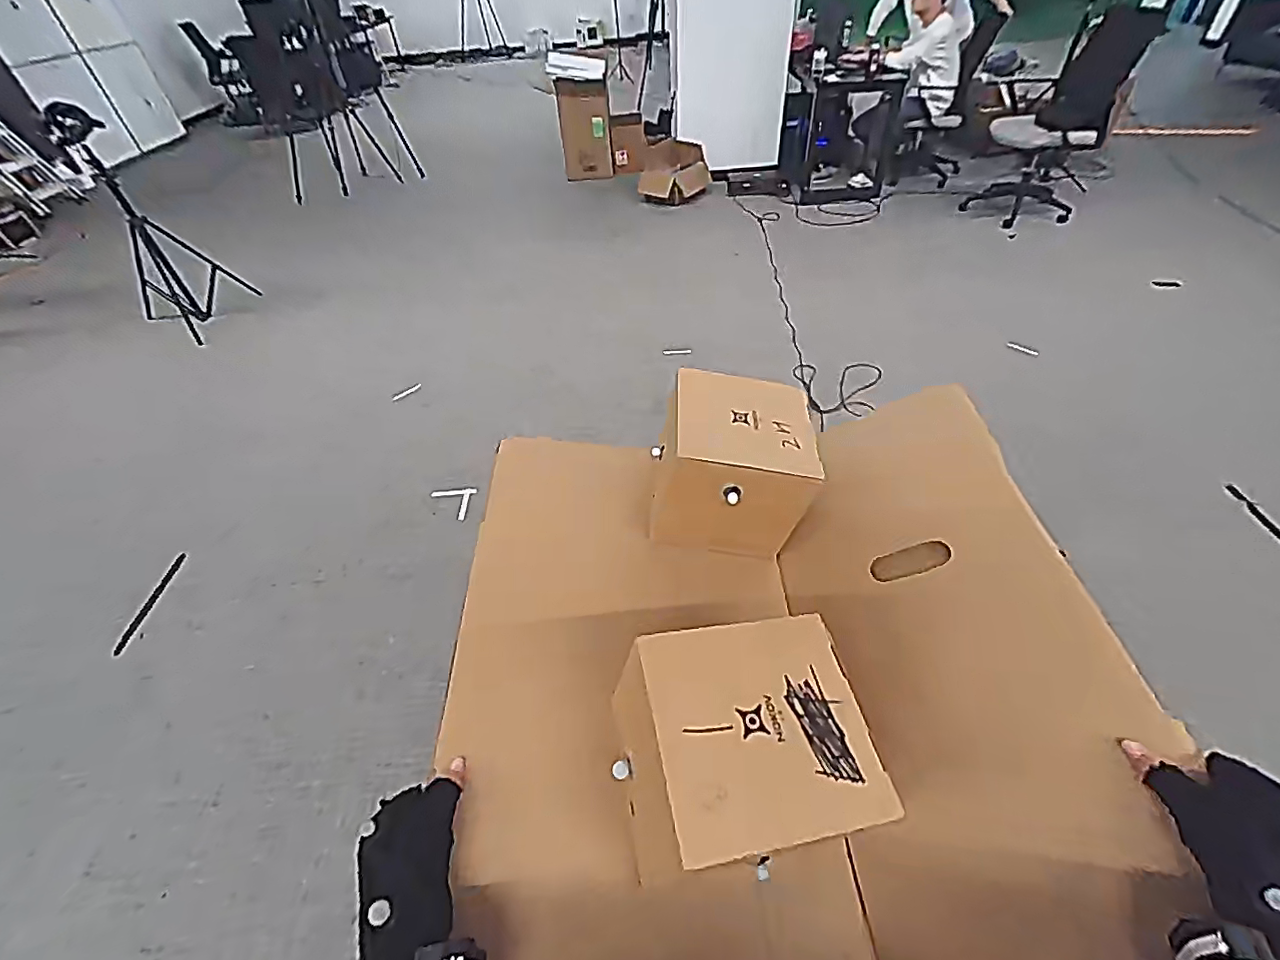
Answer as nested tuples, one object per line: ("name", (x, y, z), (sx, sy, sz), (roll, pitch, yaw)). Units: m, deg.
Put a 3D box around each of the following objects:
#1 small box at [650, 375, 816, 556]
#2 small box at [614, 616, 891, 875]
("small box", (0.113, -0.014, 0.733), (0.179, 0.176, 0.168), (9, 48, -5))
("small box", (0.082, 0.244, 0.499), (0.179, 0.176, 0.168), (-3, 50, -14))
